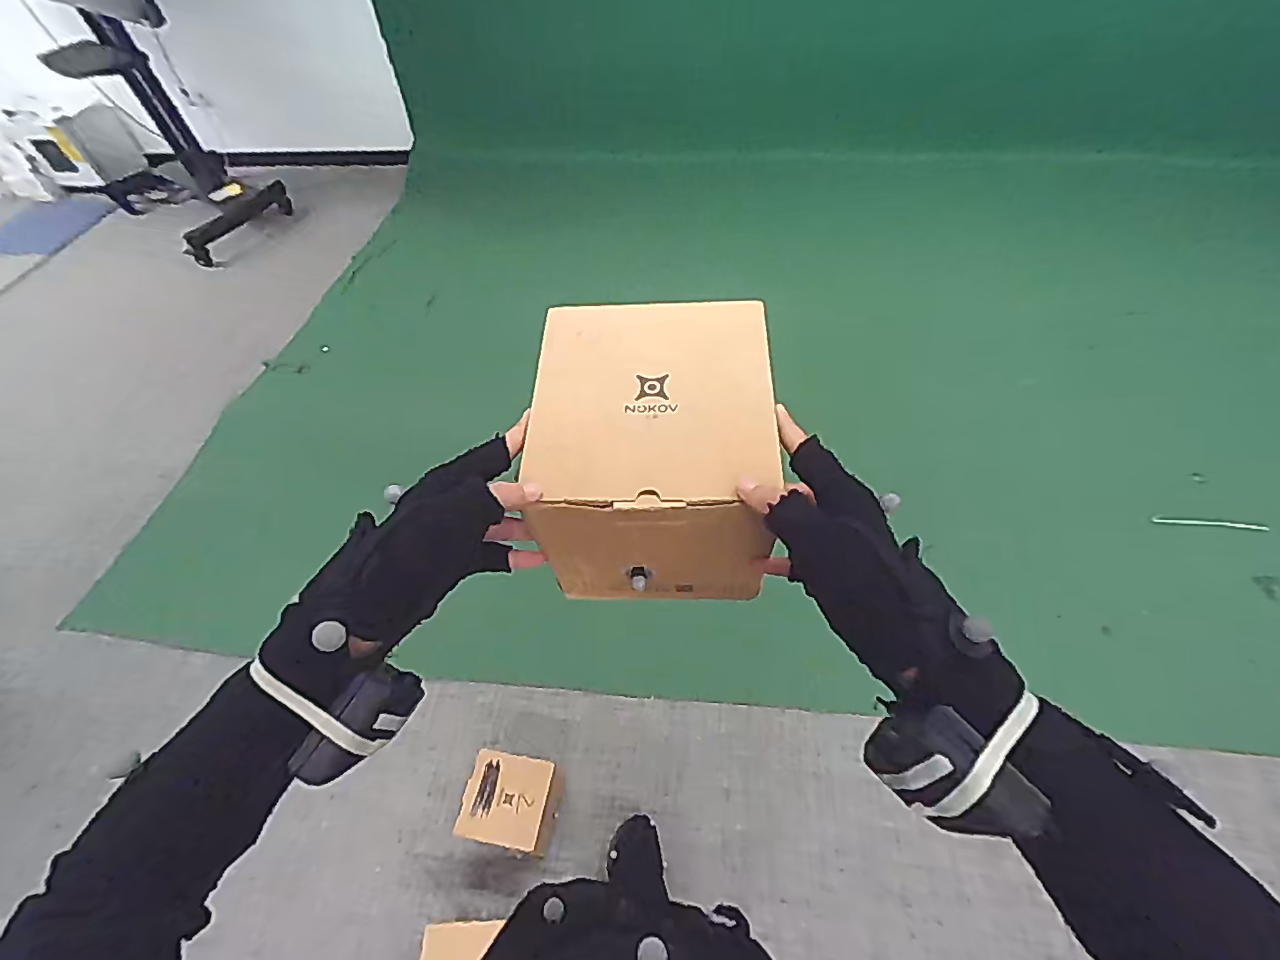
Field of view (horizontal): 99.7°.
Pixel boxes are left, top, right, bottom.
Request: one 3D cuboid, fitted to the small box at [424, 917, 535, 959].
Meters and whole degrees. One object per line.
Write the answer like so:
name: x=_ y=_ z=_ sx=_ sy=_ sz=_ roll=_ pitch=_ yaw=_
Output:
small box: x=-0.302 y=0.939 z=1.024 sx=0.179 sy=0.176 sz=0.168 roll=-4 pitch=52 yaw=1
